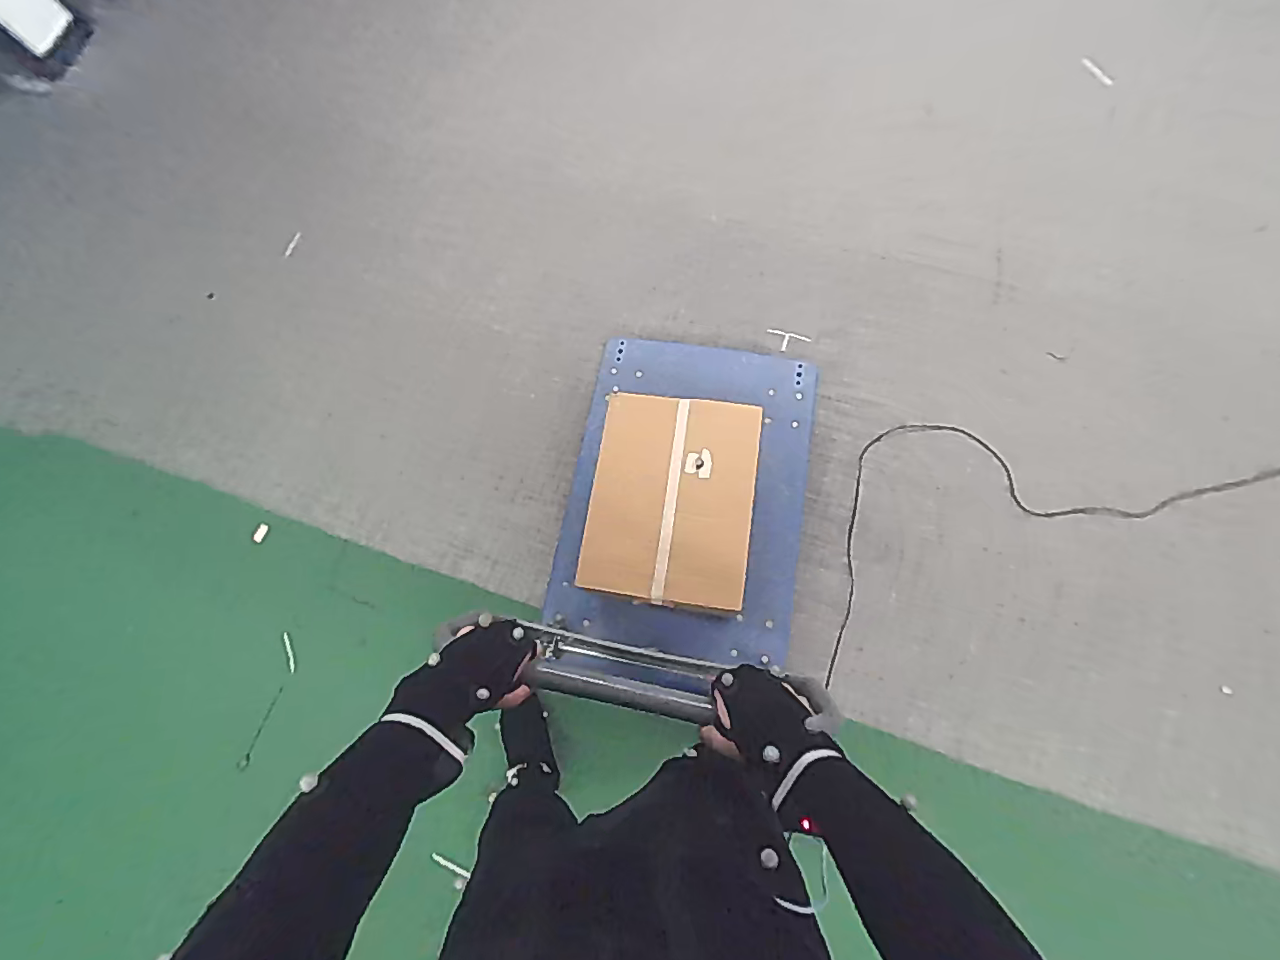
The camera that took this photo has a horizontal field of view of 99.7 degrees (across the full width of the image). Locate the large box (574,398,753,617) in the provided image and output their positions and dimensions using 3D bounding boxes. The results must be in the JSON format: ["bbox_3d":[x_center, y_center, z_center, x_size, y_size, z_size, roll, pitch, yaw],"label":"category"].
[{"bbox_3d":[0.067,0.076,1.194,0.320,0.320,0.408,7,75,7],"label":"large box"}]
